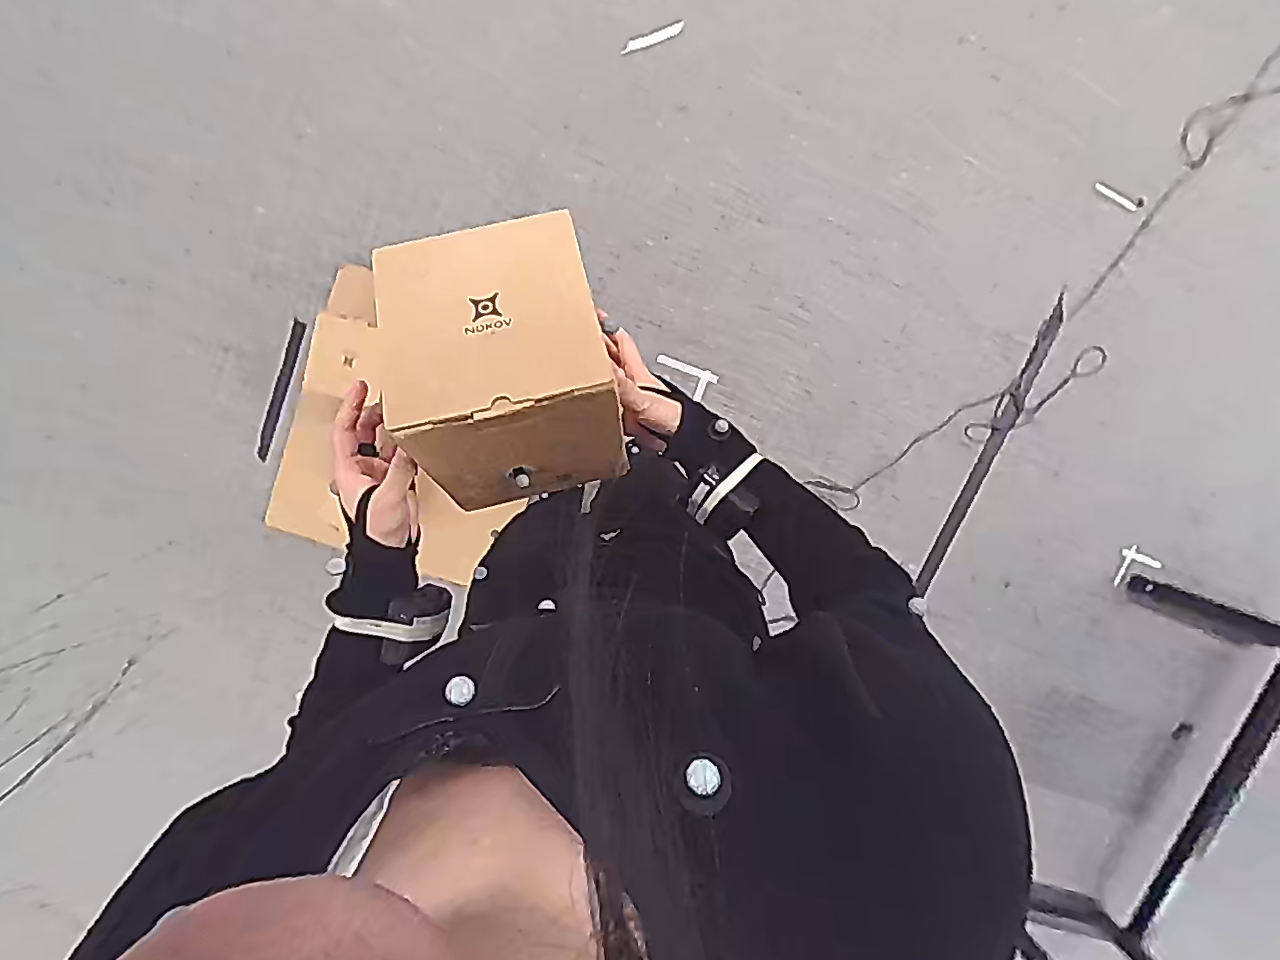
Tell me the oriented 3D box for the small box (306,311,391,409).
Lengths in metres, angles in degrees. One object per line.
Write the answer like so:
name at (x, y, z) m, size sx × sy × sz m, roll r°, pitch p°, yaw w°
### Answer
small box at (-0.642, -0.274, 1.267) m, size 0.168 × 0.176 × 0.179 m, roll 15°, pitch 97°, yaw -7°

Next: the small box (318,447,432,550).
small box at (-0.633, 0.037, 1.316) m, size 0.168 × 0.176 × 0.179 m, roll 29°, pitch 97°, yaw -11°

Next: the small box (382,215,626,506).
small box at (-0.109, -0.095, 0.482) m, size 0.168 × 0.176 × 0.179 m, roll -12°, pitch 70°, yaw -4°
